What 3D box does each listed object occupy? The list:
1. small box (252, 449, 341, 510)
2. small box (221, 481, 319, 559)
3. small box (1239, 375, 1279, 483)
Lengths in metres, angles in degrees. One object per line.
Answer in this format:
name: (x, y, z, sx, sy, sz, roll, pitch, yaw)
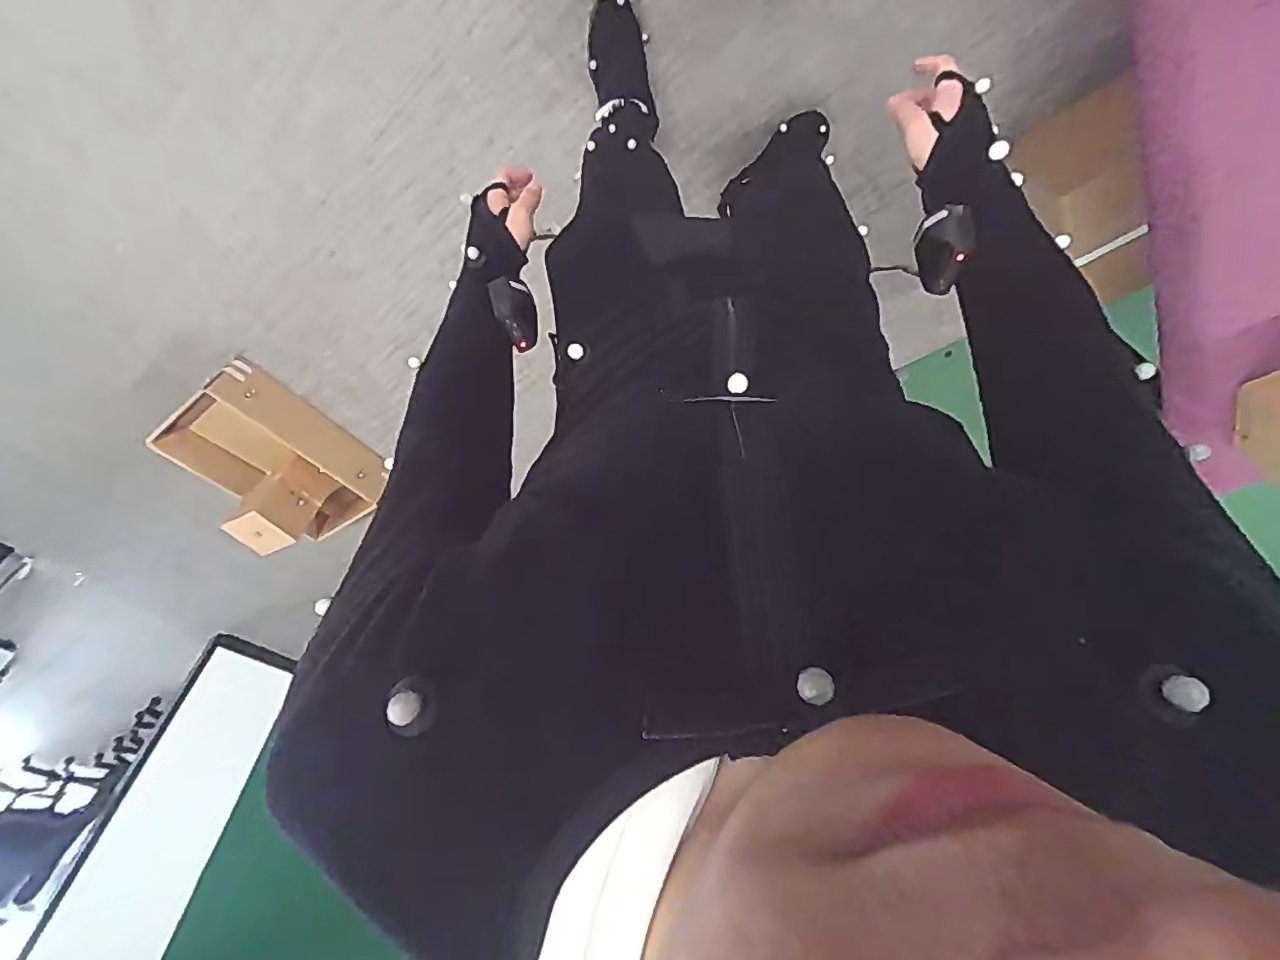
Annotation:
small box: (-1.211, 0.020, 1.922, 0.179, 0.176, 0.168, -23, 126, 21)
small box: (-1.224, 0.132, 1.803, 0.179, 0.176, 0.168, -19, 128, 19)
small box: (1.040, -0.075, 0.776, 0.179, 0.176, 0.168, -27, 126, 23)
